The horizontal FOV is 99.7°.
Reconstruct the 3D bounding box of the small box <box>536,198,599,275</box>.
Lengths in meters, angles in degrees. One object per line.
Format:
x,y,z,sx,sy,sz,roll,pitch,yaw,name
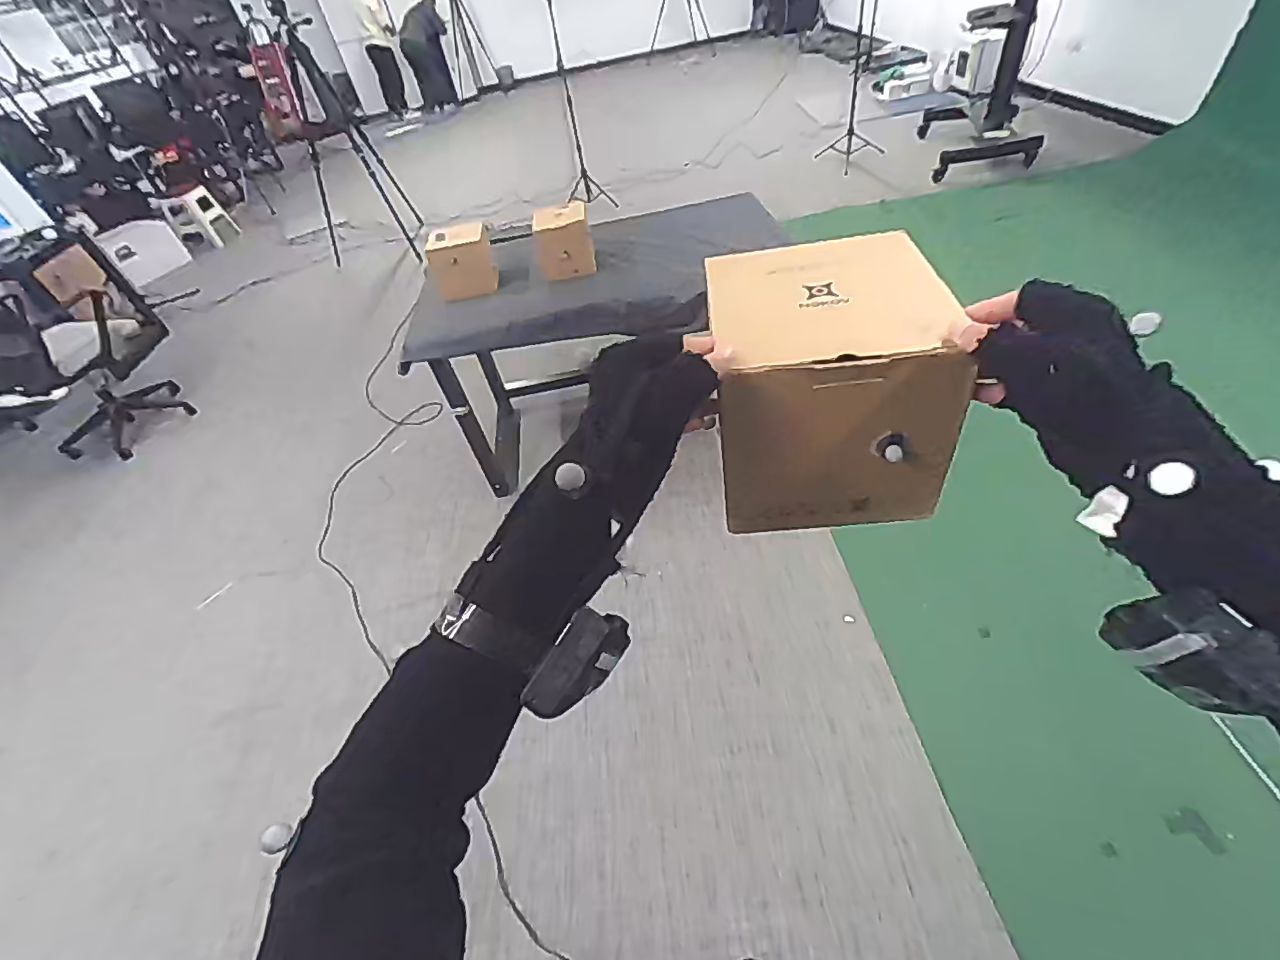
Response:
-0.227,-0.770,1.727,0.168,0.176,0.179,-10,46,2,small box

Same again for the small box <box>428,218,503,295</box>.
-0.554,-0.716,1.740,0.179,0.176,0.168,-11,45,-1,small box
